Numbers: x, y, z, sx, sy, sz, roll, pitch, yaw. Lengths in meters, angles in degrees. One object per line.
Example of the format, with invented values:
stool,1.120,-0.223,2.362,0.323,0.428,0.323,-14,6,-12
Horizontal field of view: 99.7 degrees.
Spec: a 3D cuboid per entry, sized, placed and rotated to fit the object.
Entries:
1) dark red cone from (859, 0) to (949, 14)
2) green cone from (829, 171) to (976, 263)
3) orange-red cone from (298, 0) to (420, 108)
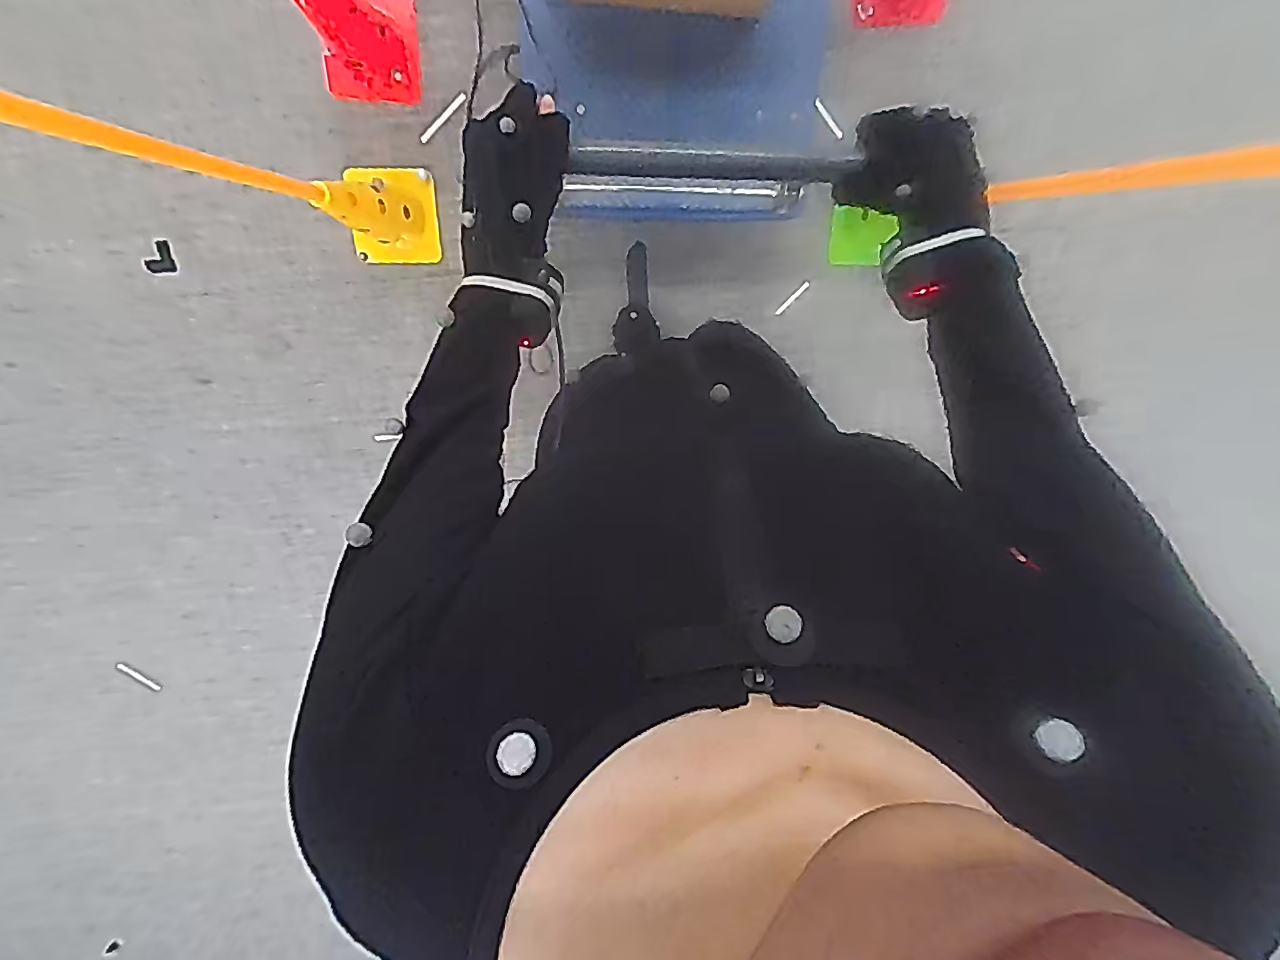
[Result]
dark red cone,0.558,-1.021,0.954,0.201,0.394,0.202,-5,110,-2
green cone,0.569,-0.571,1.136,0.202,0.368,0.200,-1,110,-3
orange-red cone,-0.565,-0.862,0.990,0.198,0.360,0.199,2,108,-4
